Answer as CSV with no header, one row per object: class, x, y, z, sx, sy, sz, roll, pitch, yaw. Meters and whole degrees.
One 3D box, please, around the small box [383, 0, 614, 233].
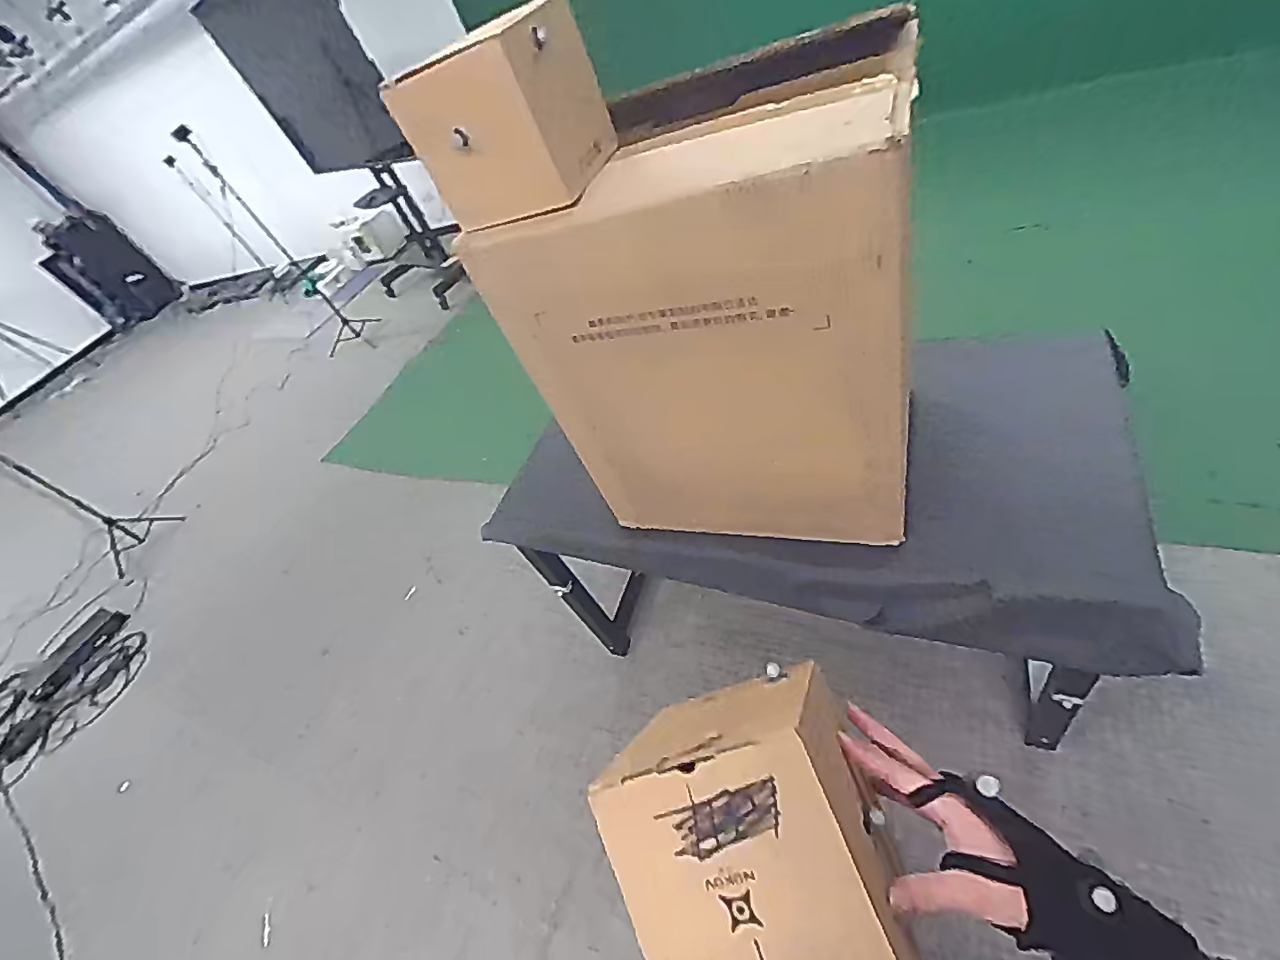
small box,-0.160,-0.430,0.662,0.179,0.176,0.168,0,52,29
